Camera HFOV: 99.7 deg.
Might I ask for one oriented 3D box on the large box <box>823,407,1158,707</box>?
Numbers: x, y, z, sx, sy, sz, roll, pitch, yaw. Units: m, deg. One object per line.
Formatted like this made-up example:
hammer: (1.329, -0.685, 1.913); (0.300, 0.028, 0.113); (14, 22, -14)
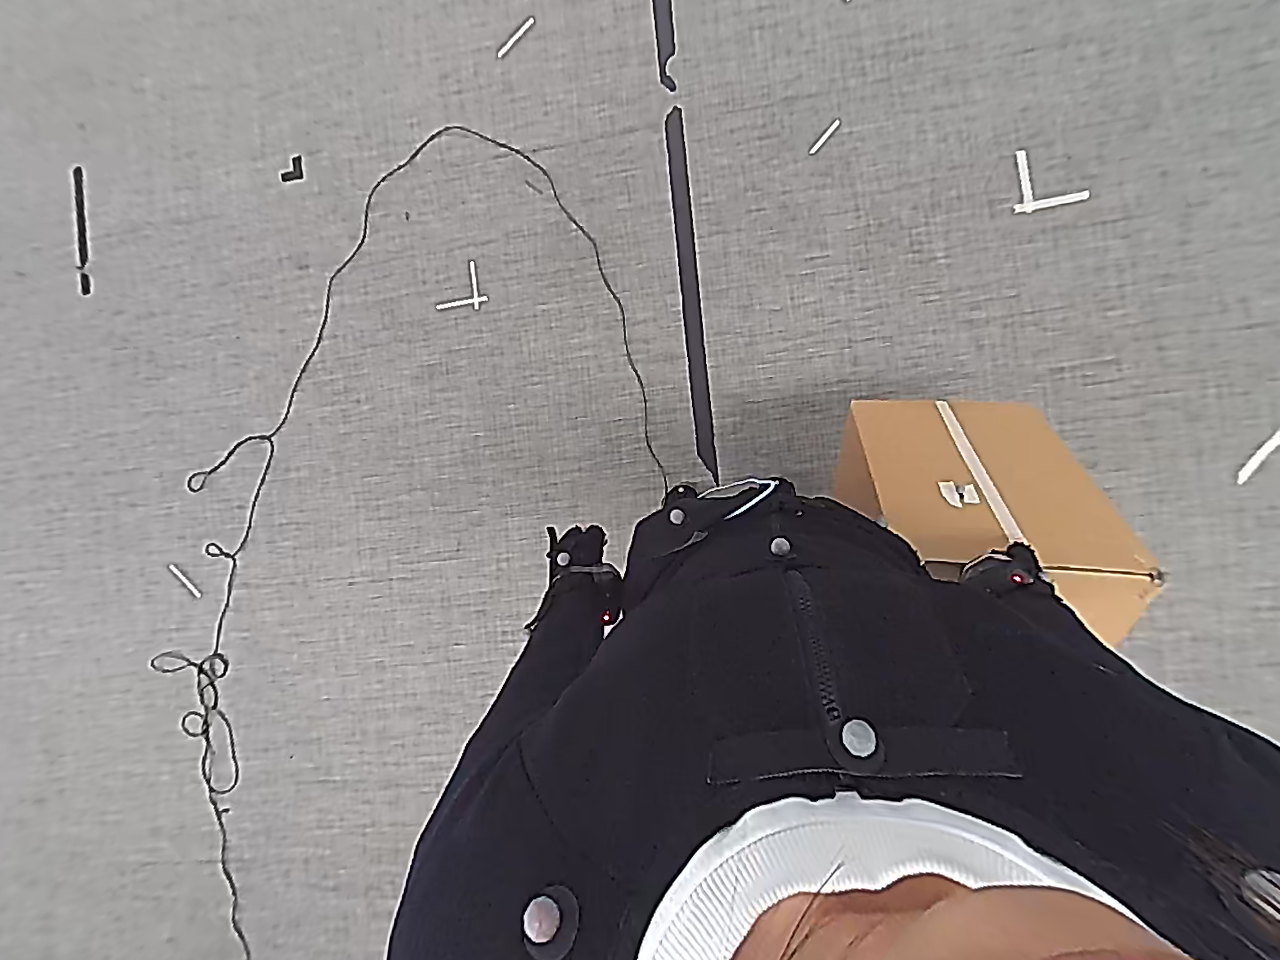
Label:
large box: (0.519, 0.112, 0.928); (0.320, 0.408, 0.320); (2, 130, 9)
